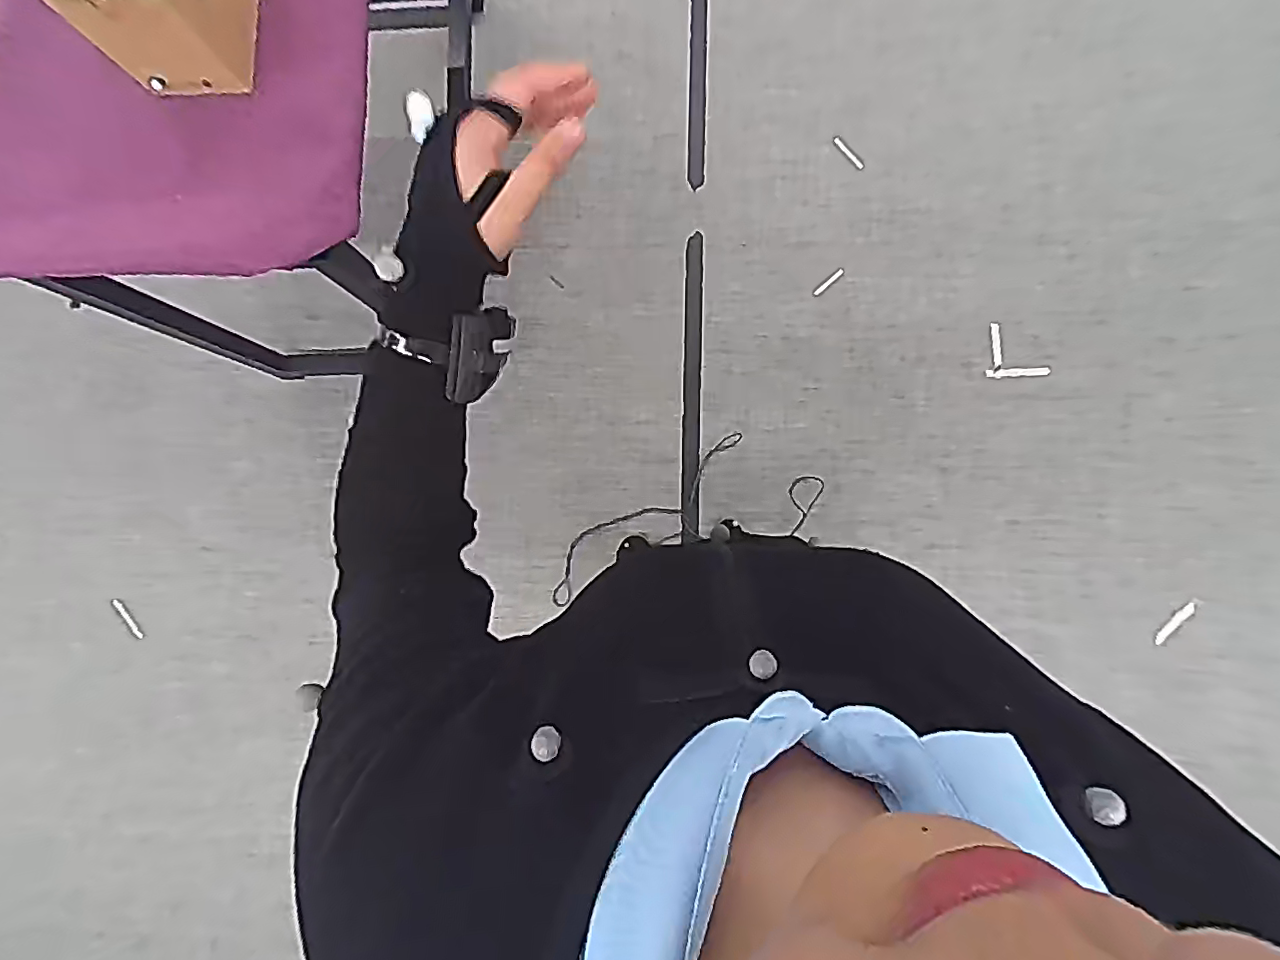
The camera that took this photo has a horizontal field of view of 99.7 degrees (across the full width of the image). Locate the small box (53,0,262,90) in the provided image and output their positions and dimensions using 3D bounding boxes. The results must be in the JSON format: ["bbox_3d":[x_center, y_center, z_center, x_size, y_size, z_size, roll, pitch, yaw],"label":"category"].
[{"bbox_3d":[-0.697,-0.715,0.798,0.168,0.176,0.179,0,85,2],"label":"small box"}]
